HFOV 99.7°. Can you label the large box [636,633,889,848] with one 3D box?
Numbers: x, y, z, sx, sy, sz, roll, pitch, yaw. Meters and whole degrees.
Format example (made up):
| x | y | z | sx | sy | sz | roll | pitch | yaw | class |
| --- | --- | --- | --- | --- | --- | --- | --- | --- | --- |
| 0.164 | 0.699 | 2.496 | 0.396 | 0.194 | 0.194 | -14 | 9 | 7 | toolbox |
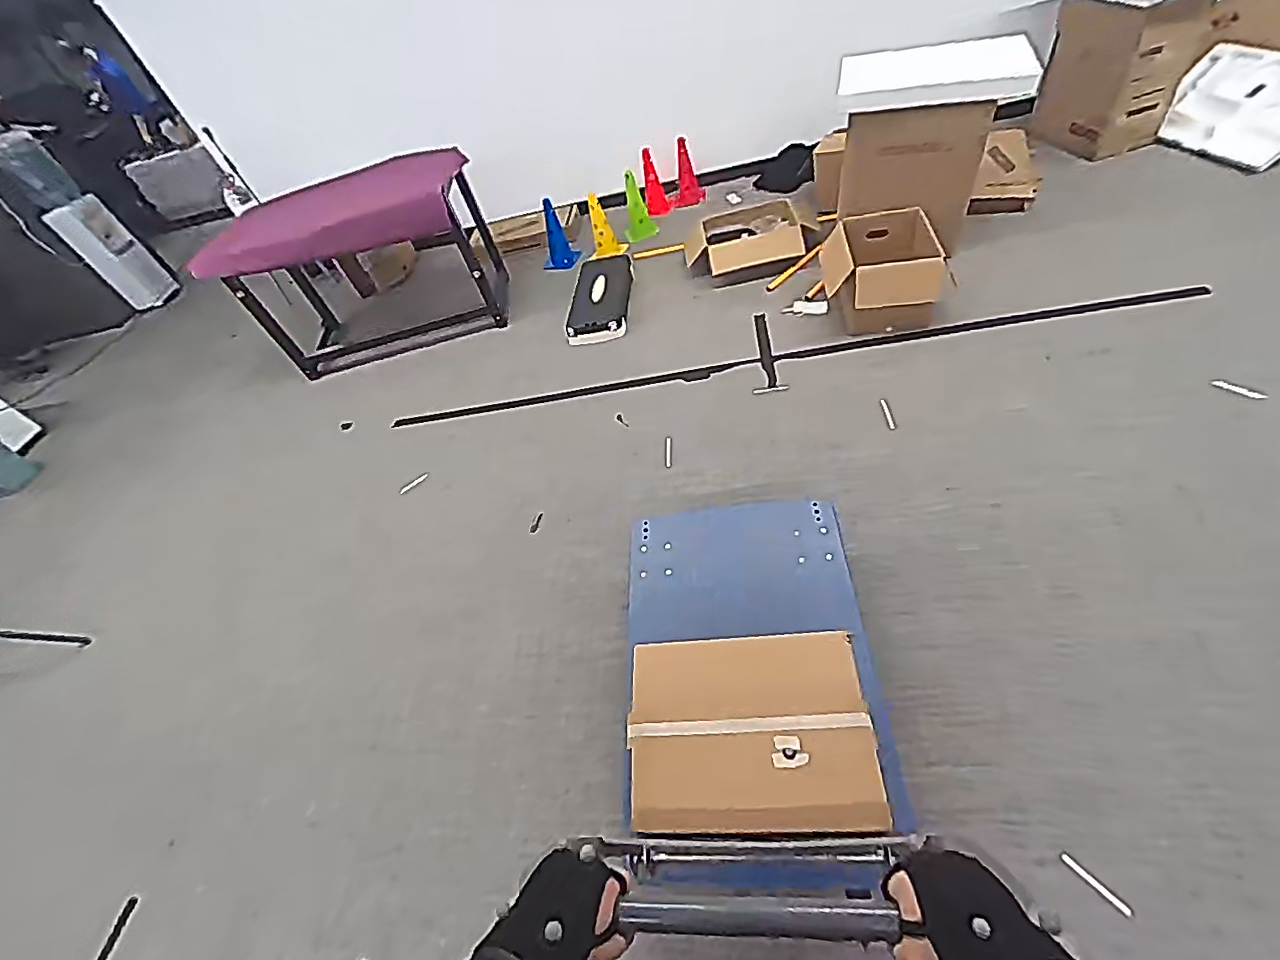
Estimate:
| x | y | z | sx | sy | sz | roll | pitch | yaw | class |
| --- | --- | --- | --- | --- | --- | --- | --- | --- | --- |
| 0.217 | 0.523 | 1.063 | 0.408 | 0.320 | 0.320 | -7 | 53 | 9 | large box |
